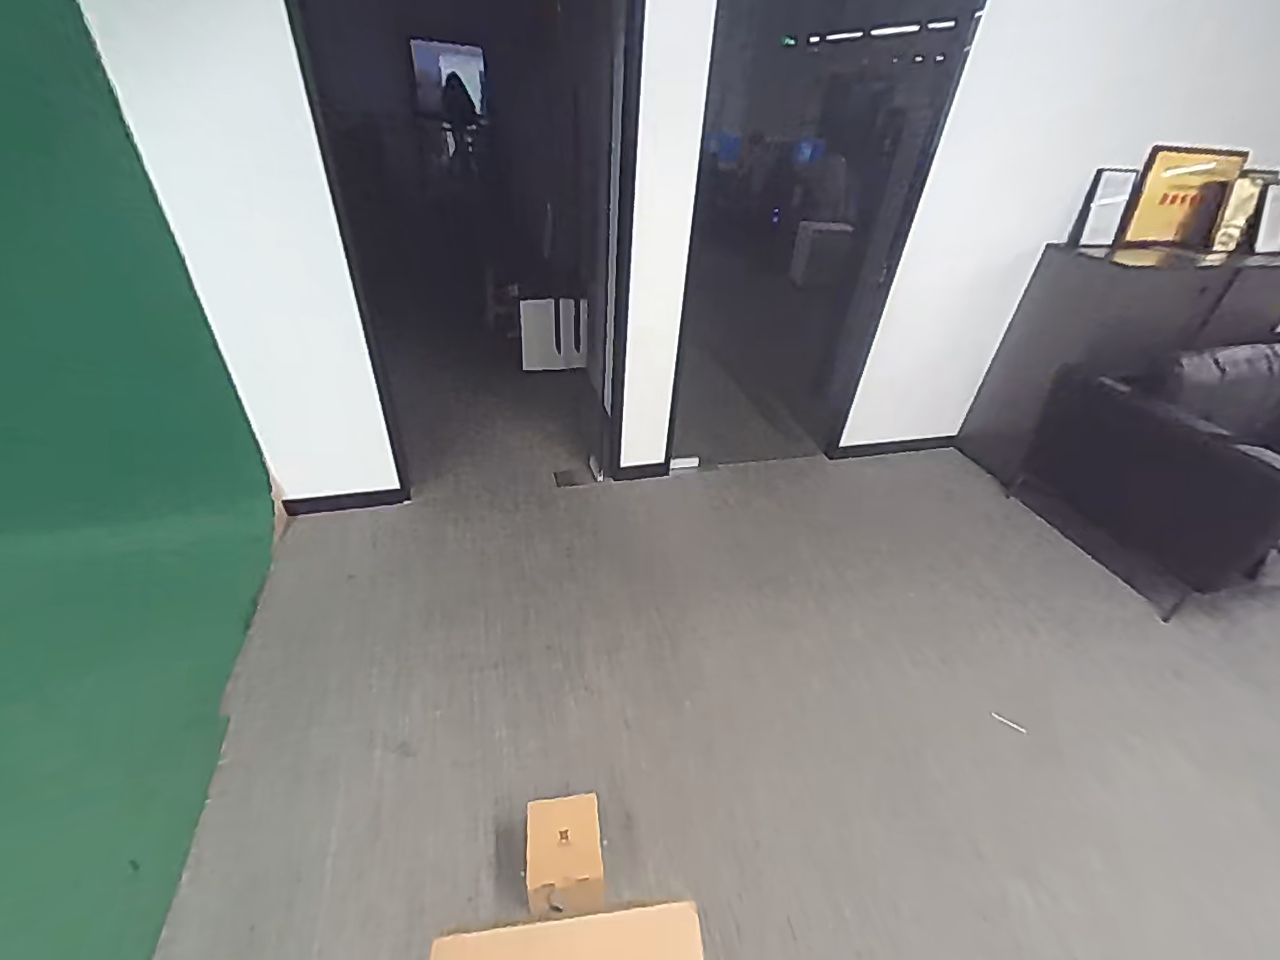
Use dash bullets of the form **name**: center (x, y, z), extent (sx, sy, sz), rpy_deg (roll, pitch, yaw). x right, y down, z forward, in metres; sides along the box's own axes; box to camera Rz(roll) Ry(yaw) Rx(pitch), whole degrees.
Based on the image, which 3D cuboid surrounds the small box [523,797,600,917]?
- **small box**: center (-0.188, 0.881, 1.267), extent (0.168, 0.176, 0.179), rpy_deg (-2, 36, -10)
